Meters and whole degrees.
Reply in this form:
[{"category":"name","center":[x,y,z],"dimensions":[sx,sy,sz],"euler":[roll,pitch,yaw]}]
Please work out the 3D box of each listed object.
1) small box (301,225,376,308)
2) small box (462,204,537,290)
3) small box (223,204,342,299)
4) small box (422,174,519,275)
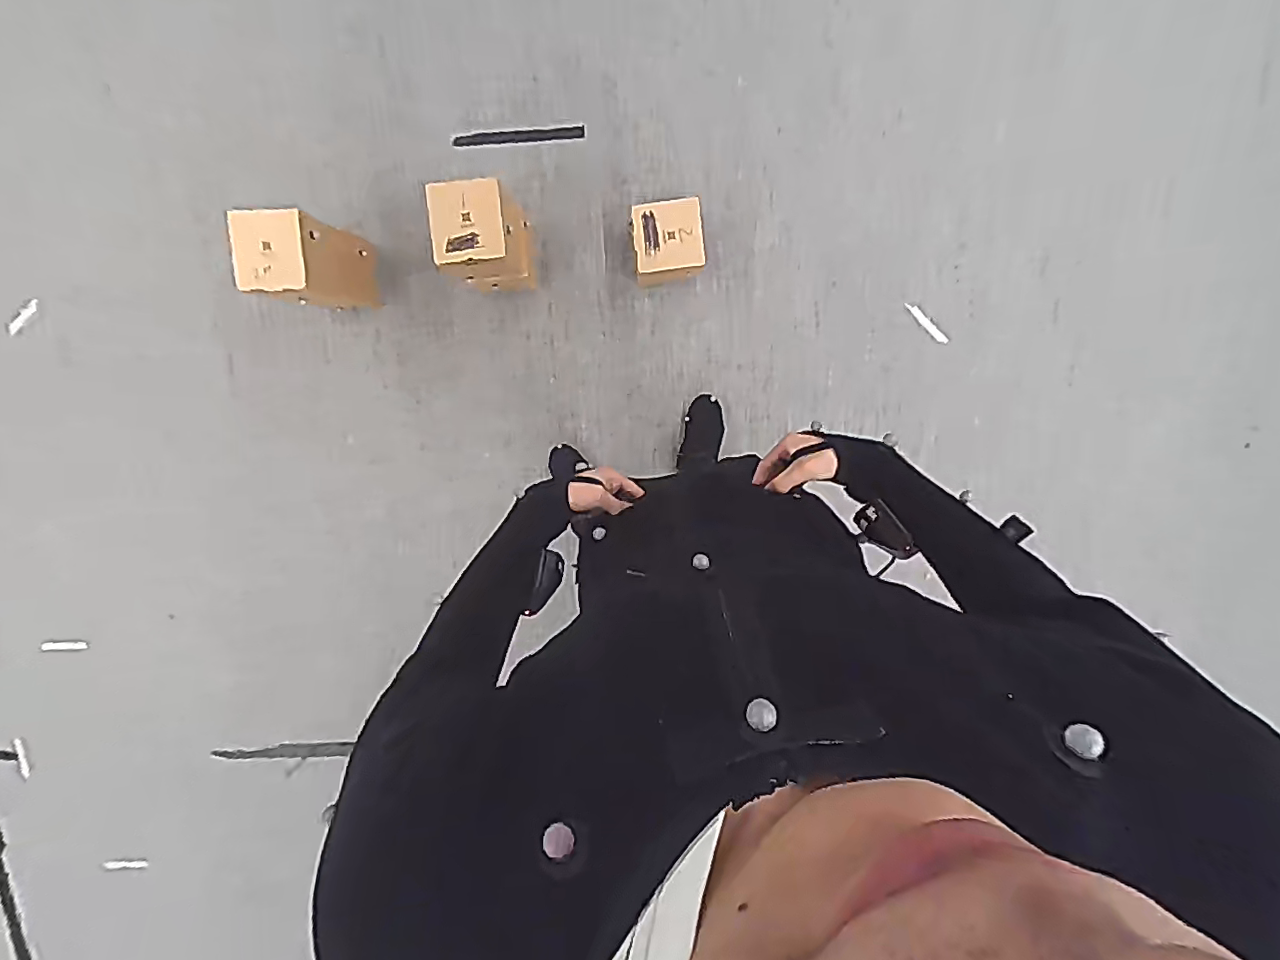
[{"category":"small box","center":[-0.832,-0.568,1.450],"dimensions":[0.168,0.176,0.179],"euler":[0,99,1]},{"category":"small box","center":[-0.378,-0.611,1.440],"dimensions":[0.168,0.176,0.179],"euler":[-5,98,1]},{"category":"small box","center":[-0.842,-0.537,1.288],"dimensions":[0.168,0.176,0.179],"euler":[0,100,2]},{"category":"small box","center":[-0.390,-0.591,1.277],"dimensions":[0.168,0.176,0.179],"euler":[-5,98,1]}]
